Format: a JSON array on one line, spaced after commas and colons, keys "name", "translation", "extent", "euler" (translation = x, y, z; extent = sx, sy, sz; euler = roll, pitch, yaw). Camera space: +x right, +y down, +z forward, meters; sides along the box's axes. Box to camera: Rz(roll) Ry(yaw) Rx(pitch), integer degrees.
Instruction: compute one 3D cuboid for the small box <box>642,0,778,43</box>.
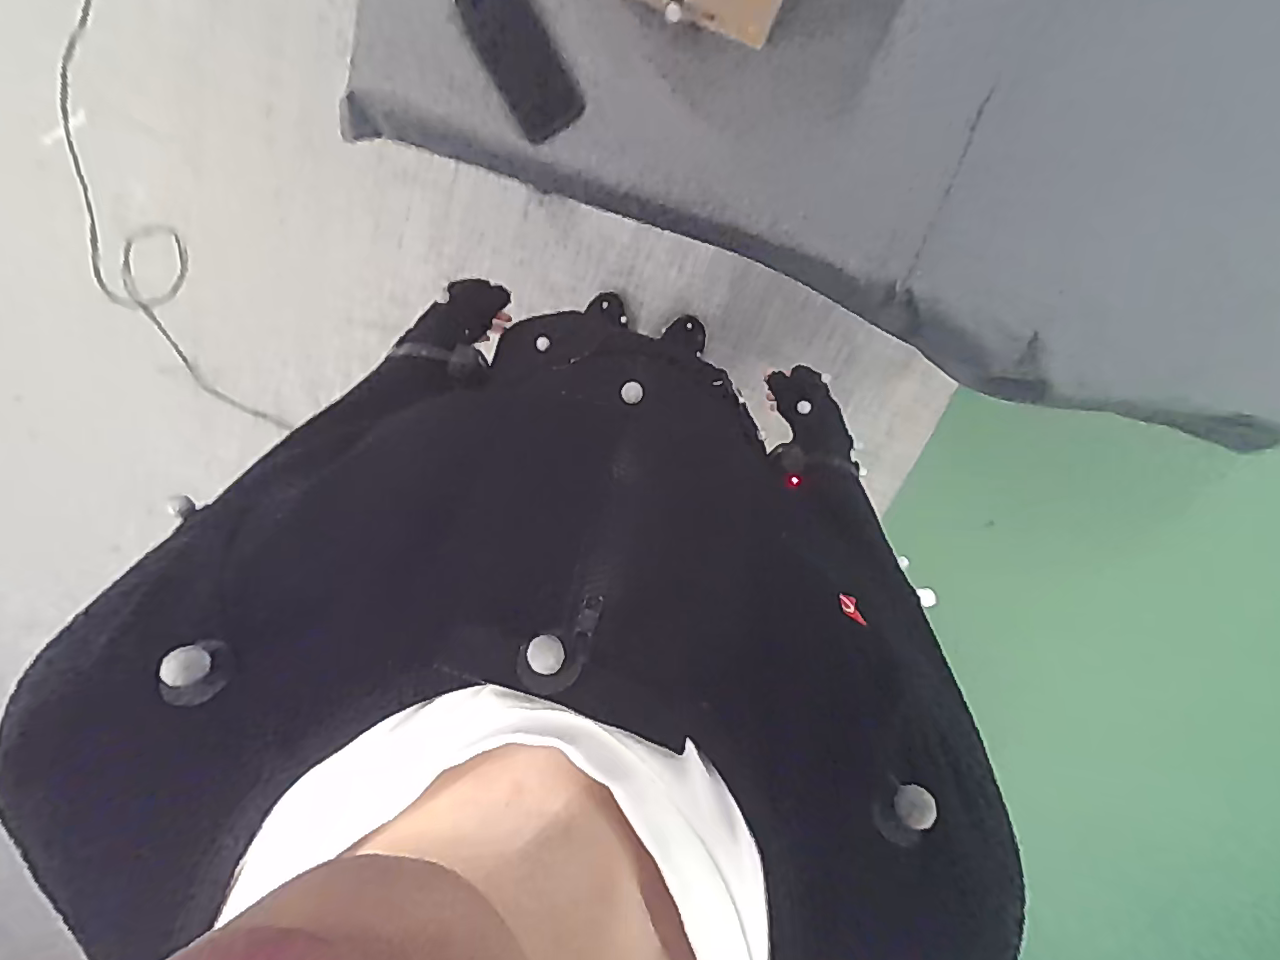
[{"name": "small box", "translation": [0.072, -0.525, 0.452], "extent": [0.168, 0.176, 0.179], "euler": [19, 110, -4]}]
